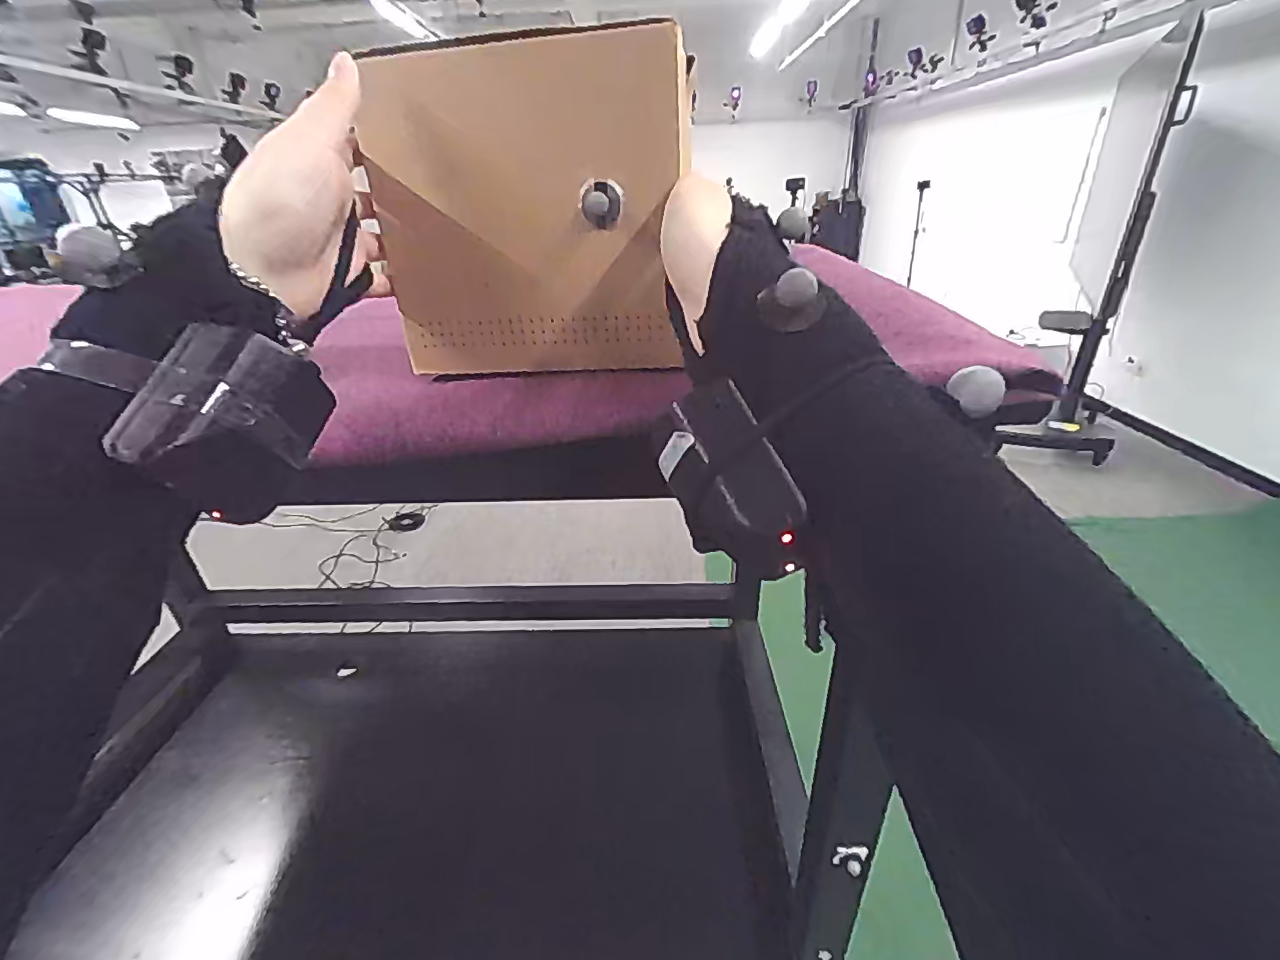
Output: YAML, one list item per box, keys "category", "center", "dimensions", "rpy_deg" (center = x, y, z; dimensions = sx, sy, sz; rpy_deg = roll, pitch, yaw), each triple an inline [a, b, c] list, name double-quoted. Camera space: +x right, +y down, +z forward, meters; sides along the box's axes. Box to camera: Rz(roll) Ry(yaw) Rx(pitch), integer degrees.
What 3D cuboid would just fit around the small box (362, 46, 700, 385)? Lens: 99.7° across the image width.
- category: "small box"
  center: [-0.047, -0.168, 0.376]
  dimensions: [0.179, 0.176, 0.168]
  rpy_deg: [-1, 24, 7]
